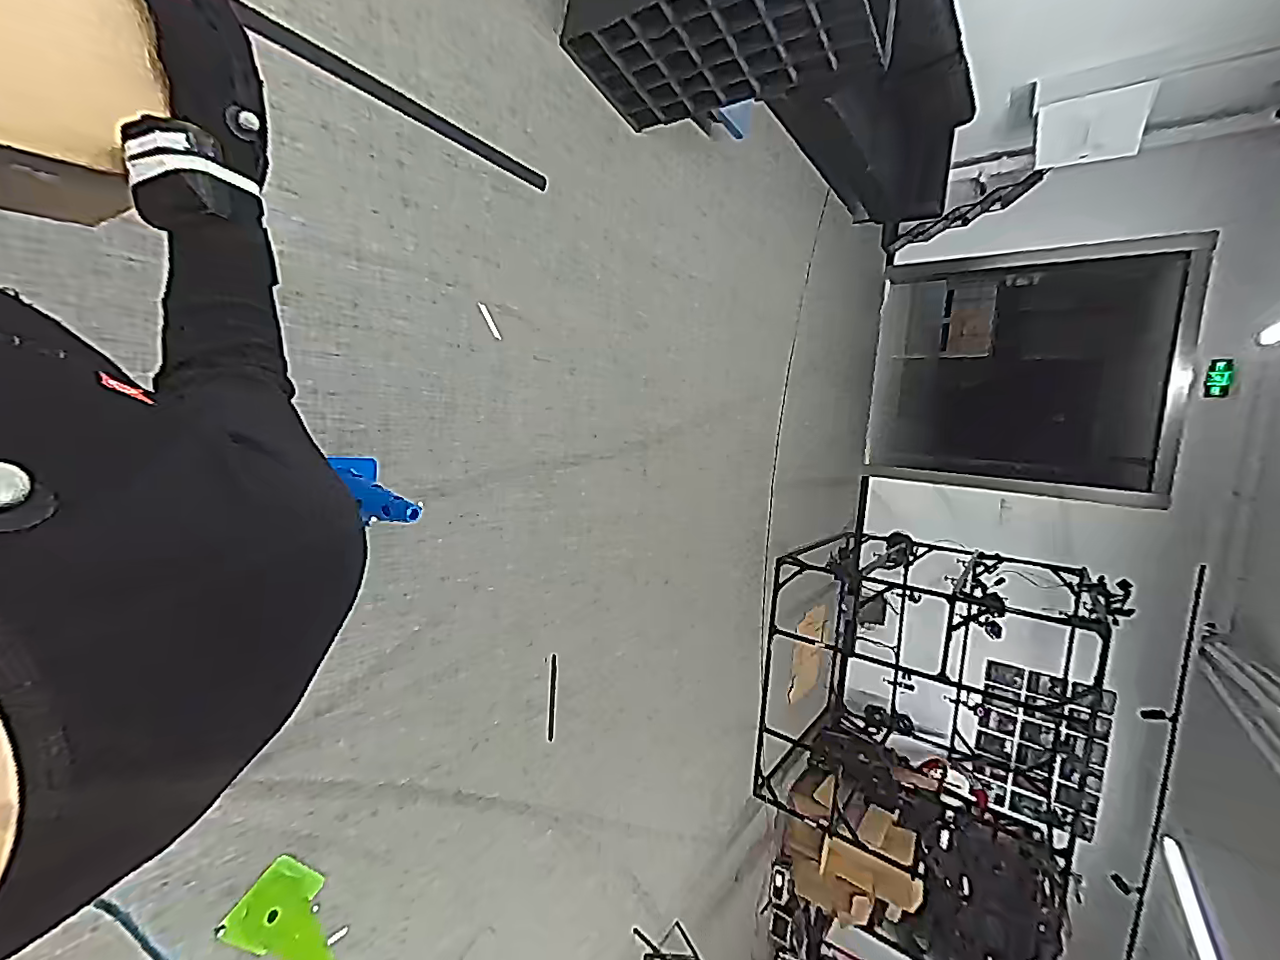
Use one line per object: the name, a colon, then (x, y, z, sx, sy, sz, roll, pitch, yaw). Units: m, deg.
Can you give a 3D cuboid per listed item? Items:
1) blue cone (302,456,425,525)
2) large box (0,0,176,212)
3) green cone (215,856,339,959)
blue cone: (-0.689, 0.049, 1.389, 0.192, 0.380, 0.193, 2, 96, -56)
large box: (-0.589, -0.391, 0.320, 0.408, 0.320, 0.320, -10, 108, -54)
green cone: (-0.854, 1.168, 1.364, 0.202, 0.368, 0.200, -52, 137, -37)
